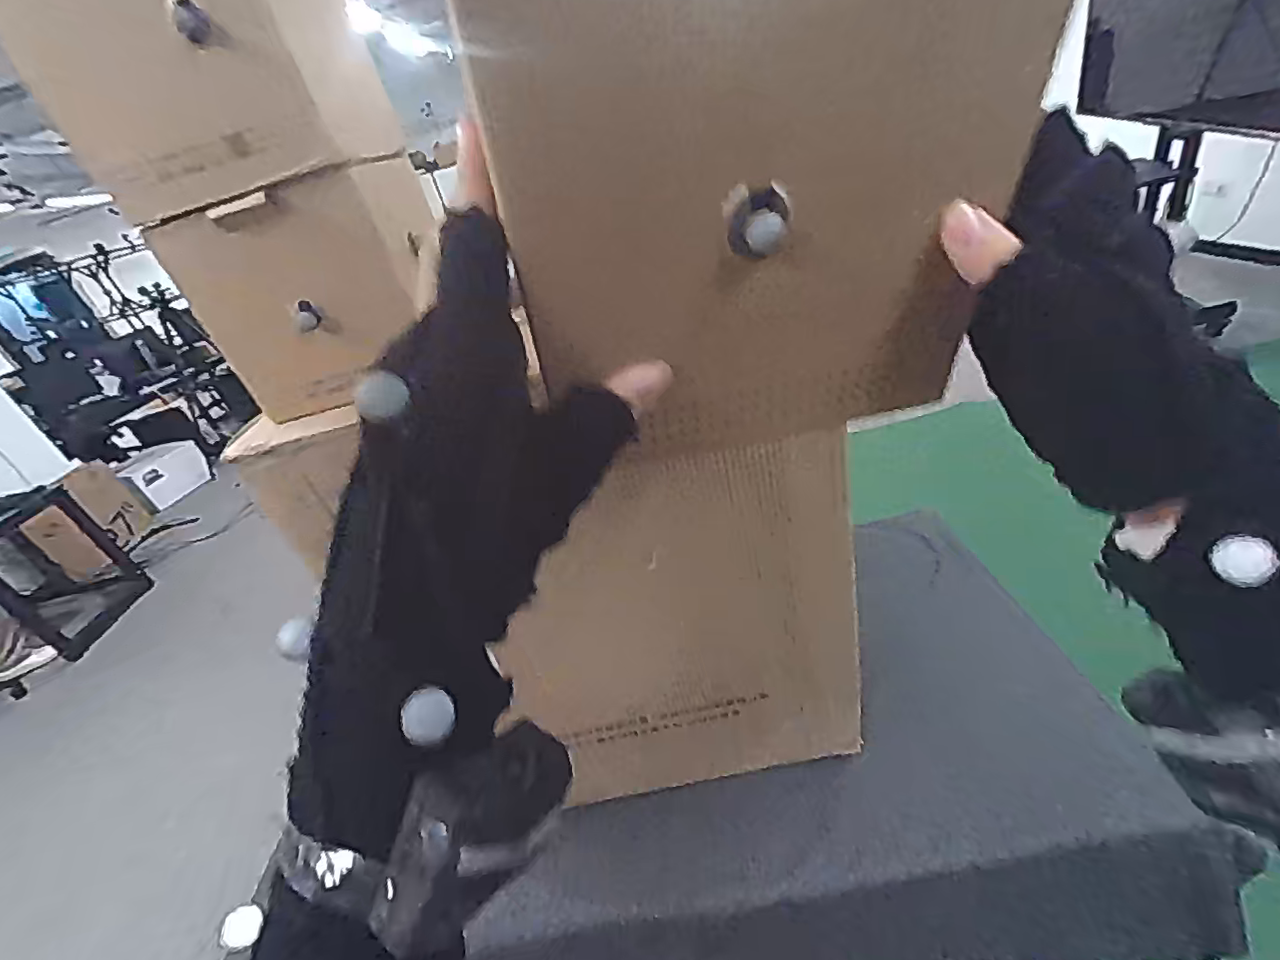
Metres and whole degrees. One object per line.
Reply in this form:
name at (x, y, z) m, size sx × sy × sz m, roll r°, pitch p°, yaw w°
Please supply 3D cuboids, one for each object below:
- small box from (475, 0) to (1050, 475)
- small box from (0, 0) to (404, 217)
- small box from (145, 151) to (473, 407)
small box at (0.031, -0.126, 0.264) m, size 0.179 × 0.176 × 0.168 m, roll -12°, pitch 42°, yaw -5°
small box at (-0.305, -0.310, 0.405) m, size 0.168 × 0.176 × 0.179 m, roll -13°, pitch 33°, yaw 3°
small box at (-0.271, -0.182, 0.500) m, size 0.168 × 0.176 × 0.179 m, roll -14°, pitch 34°, yaw 2°
